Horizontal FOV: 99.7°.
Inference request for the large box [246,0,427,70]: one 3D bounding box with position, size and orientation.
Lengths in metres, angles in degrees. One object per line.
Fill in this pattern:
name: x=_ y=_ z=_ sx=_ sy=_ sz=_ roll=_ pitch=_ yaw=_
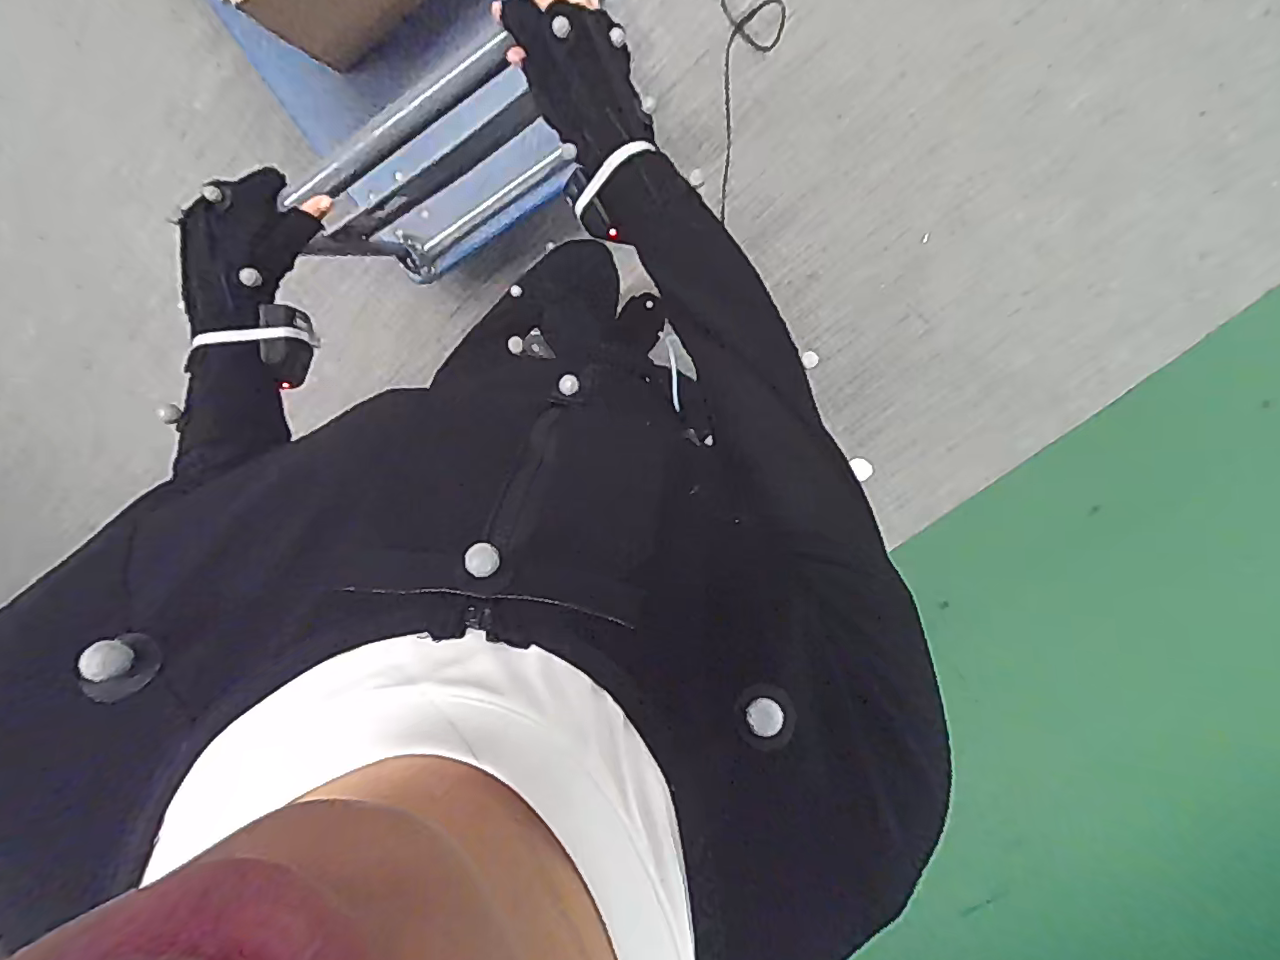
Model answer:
large box: x=-0.465 y=-0.932 z=0.800 sx=0.408 sy=0.320 sz=0.320 roll=-32 pitch=109 yaw=13
